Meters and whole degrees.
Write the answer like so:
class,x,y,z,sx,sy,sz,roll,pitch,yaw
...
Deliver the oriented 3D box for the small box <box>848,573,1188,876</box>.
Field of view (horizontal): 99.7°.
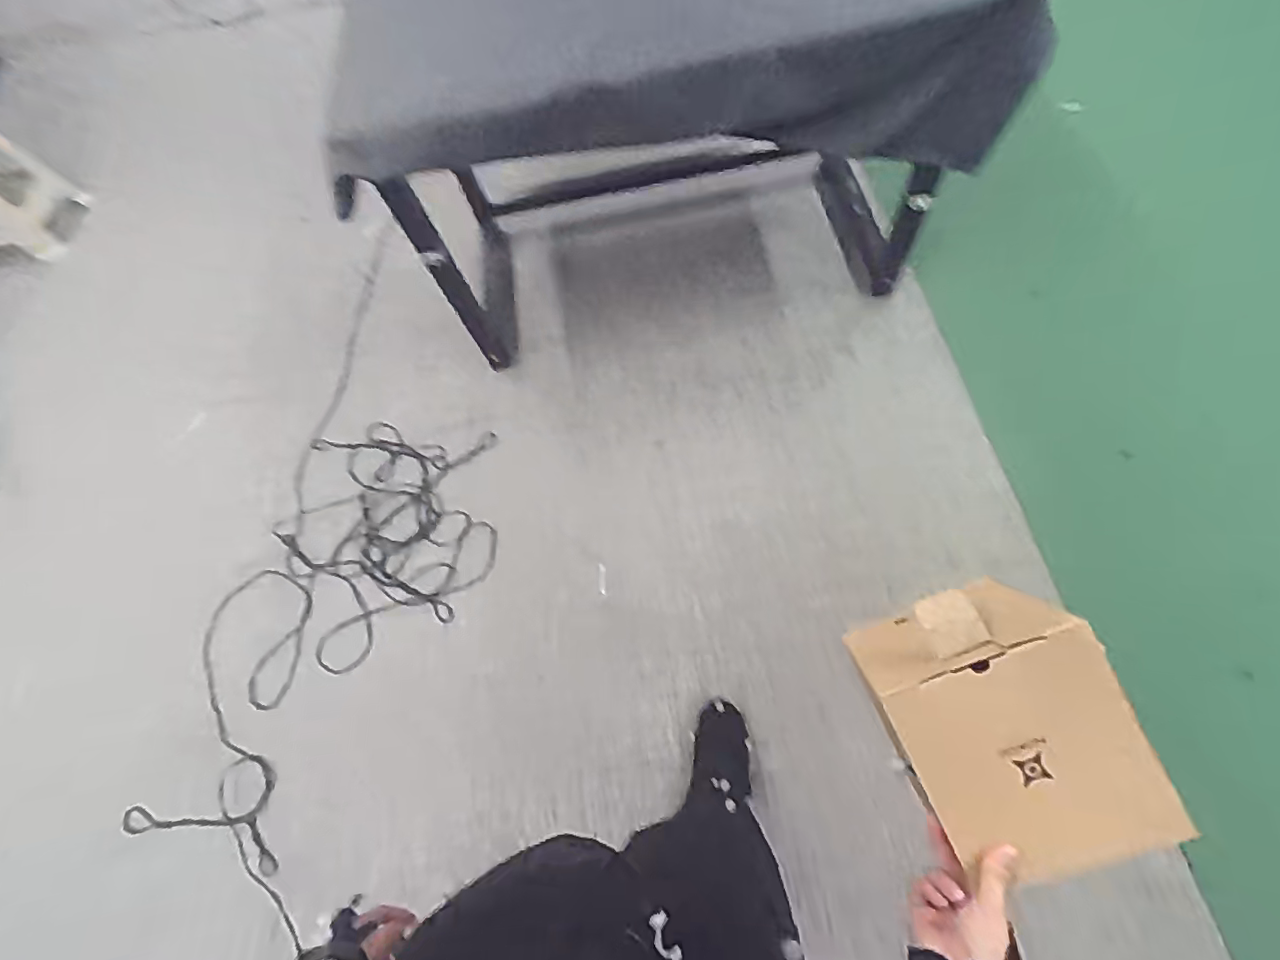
class,x,y,z,sx,sy,sz,roll,pitch,yaw
small box,0.320,0.206,0.505,0.168,0.176,0.179,-26,85,9
